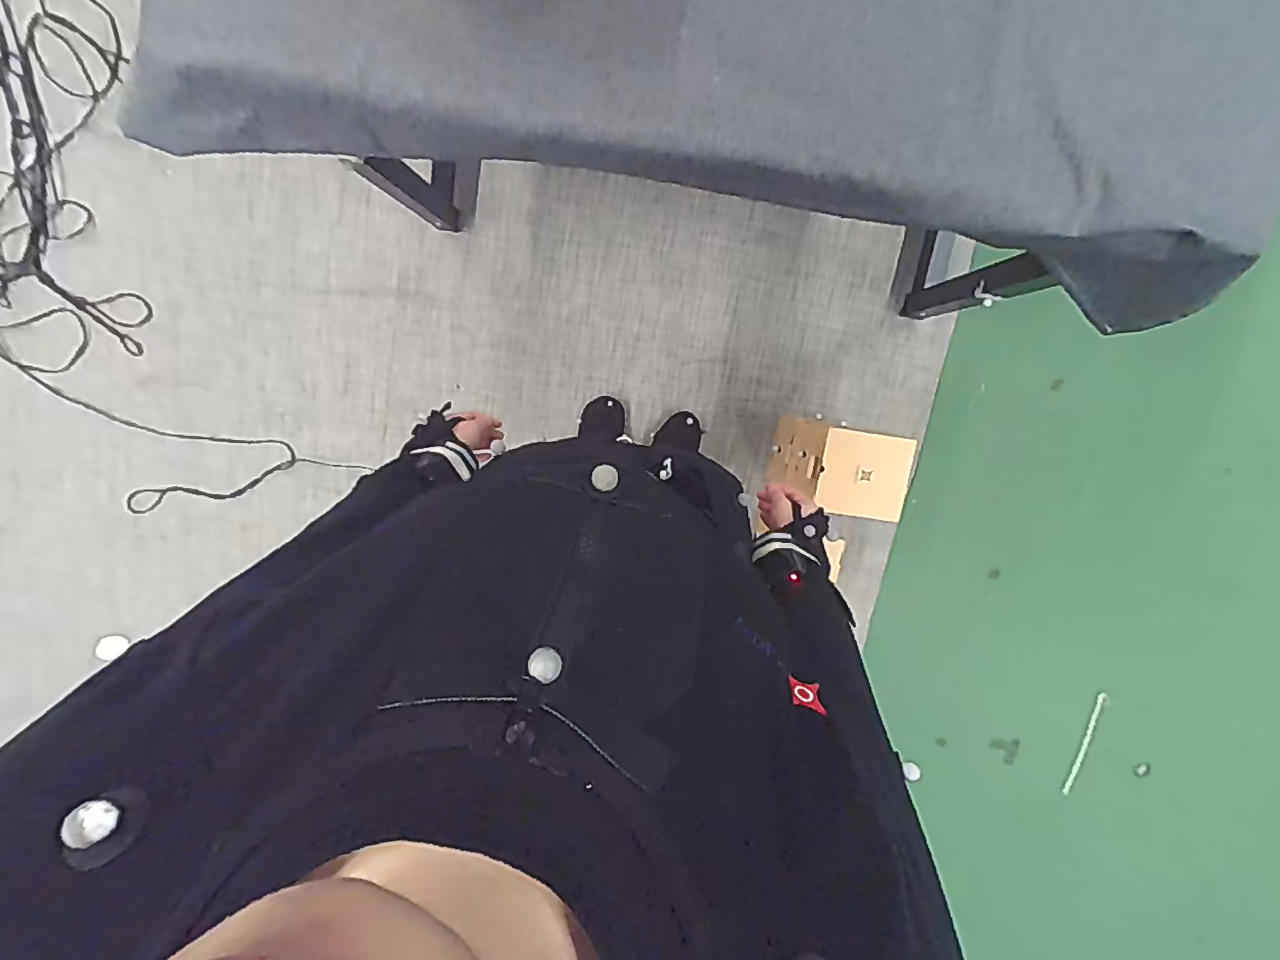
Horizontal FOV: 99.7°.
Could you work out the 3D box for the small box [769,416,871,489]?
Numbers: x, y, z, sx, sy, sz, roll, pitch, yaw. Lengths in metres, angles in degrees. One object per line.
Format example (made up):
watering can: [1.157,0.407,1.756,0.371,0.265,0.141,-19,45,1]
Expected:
small box: [0.415,-0.057,1.272,0.179,0.176,0.168,10,99,0]

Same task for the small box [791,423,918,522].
small box: [0.430,-0.023,1.111,0.179,0.176,0.168,8,100,0]

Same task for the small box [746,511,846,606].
small box: [0.370,0.184,1.317,0.179,0.176,0.168,13,99,1]
